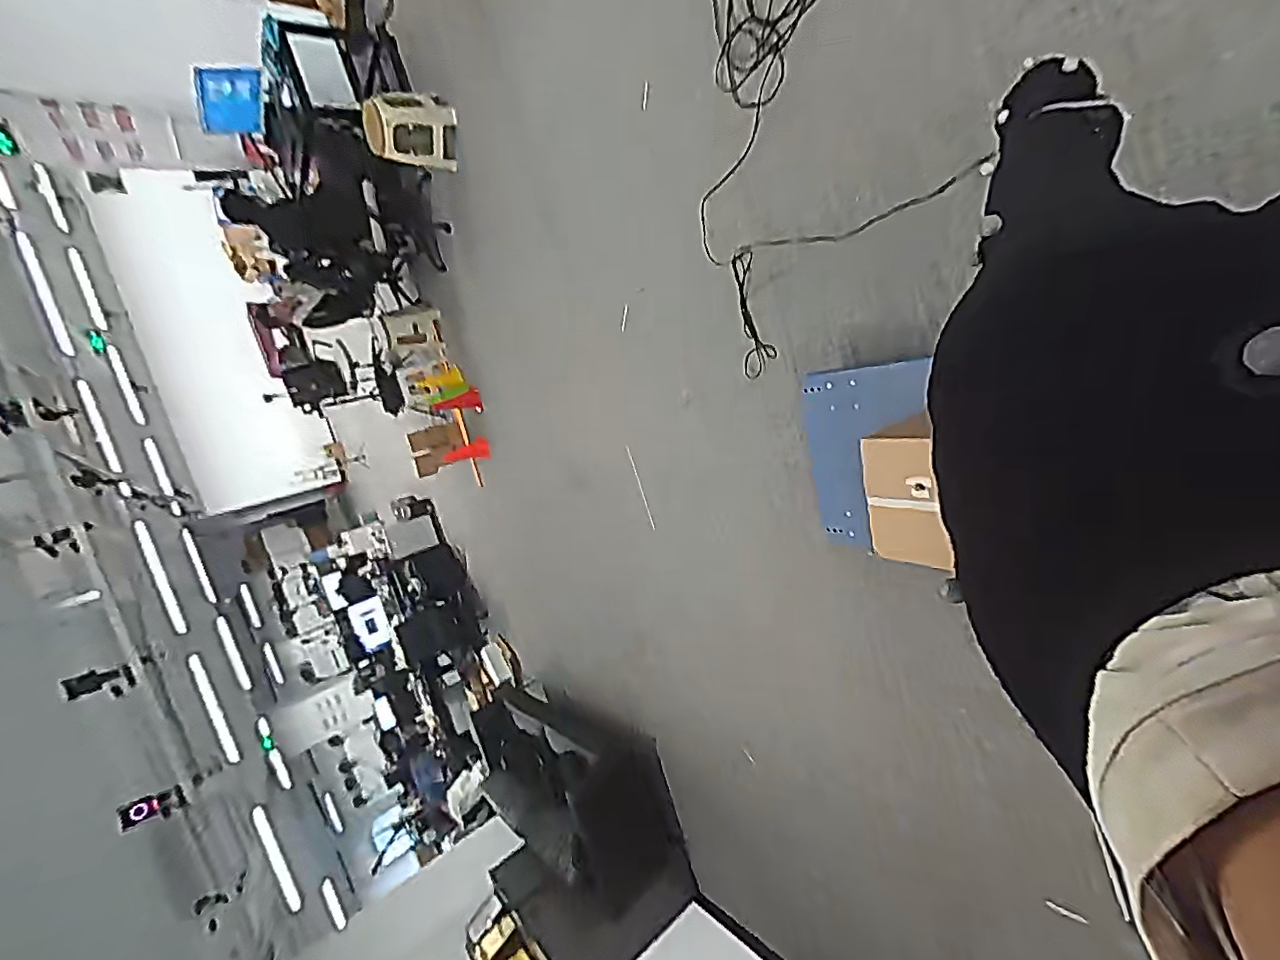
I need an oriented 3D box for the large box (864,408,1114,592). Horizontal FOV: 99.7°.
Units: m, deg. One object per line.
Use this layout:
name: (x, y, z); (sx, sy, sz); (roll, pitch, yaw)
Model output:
large box: (0.804, 0.024, 1.261); (0.408, 0.320, 0.320); (5, 110, 53)
